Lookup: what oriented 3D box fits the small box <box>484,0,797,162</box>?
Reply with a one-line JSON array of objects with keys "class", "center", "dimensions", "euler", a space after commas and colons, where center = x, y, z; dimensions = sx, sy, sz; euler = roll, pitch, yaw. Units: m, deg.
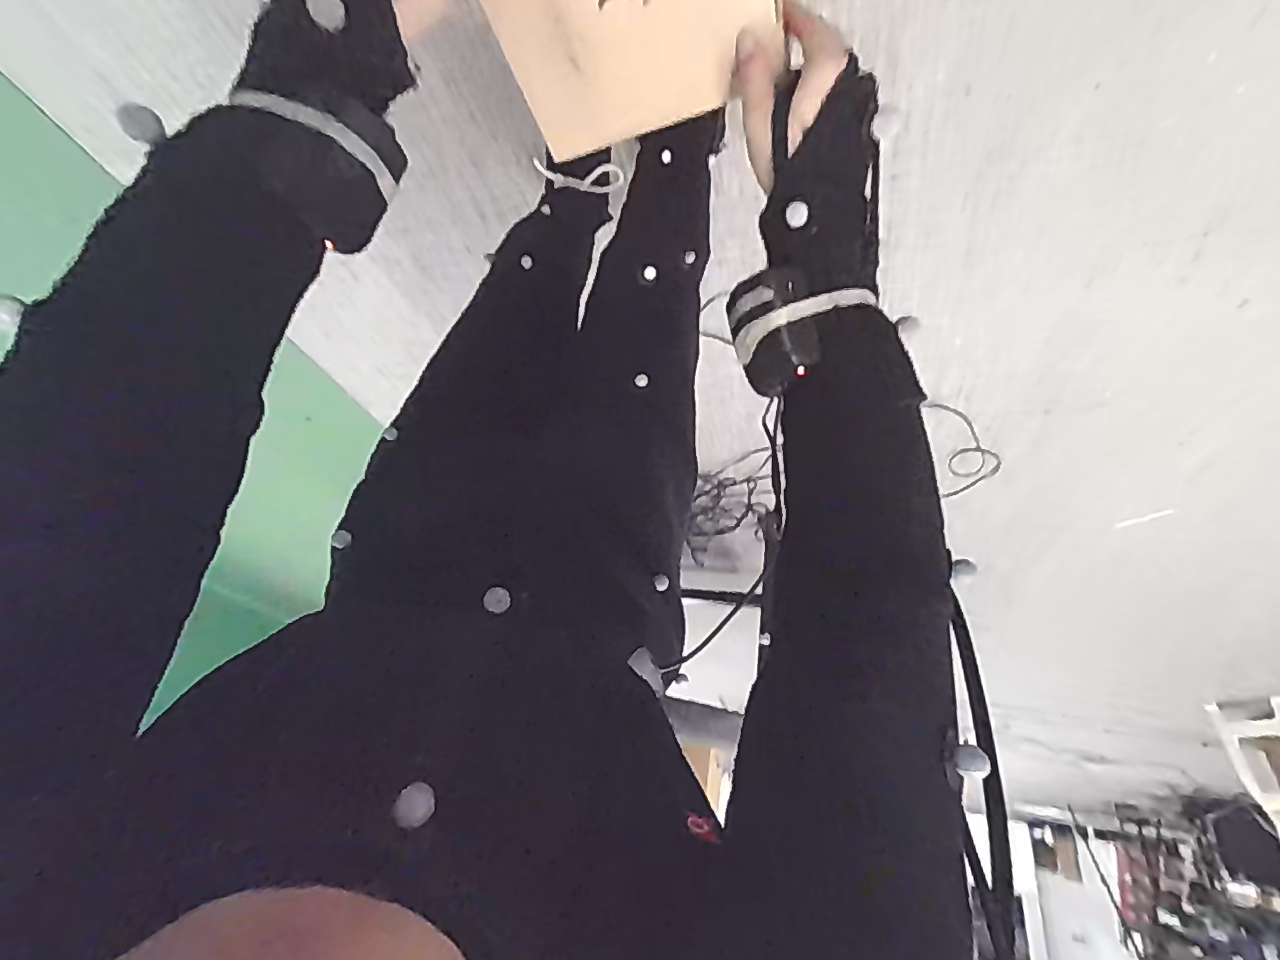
[{"class": "small box", "center": [0.005, -0.356, 0.359], "dimensions": [0.179, 0.176, 0.168], "euler": [-3, 141, 25]}]
